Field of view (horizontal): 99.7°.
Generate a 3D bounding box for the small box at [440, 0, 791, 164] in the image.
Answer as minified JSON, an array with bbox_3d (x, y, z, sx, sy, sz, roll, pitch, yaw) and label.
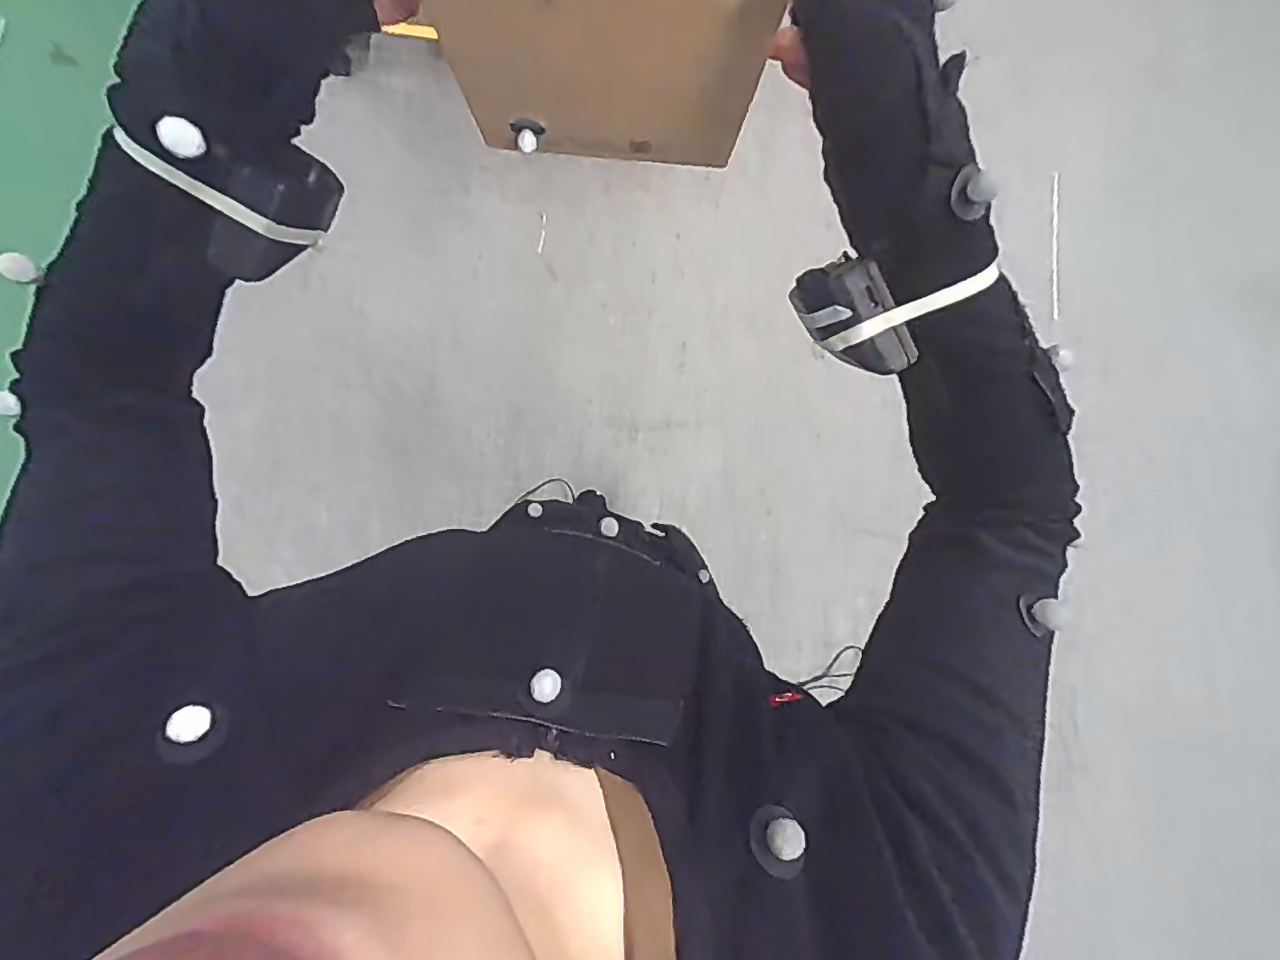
[{"bbox_3d":[-0.008,-0.297,0.282,0.168,0.176,0.179,3,92,-3],"label":"small box"}]
